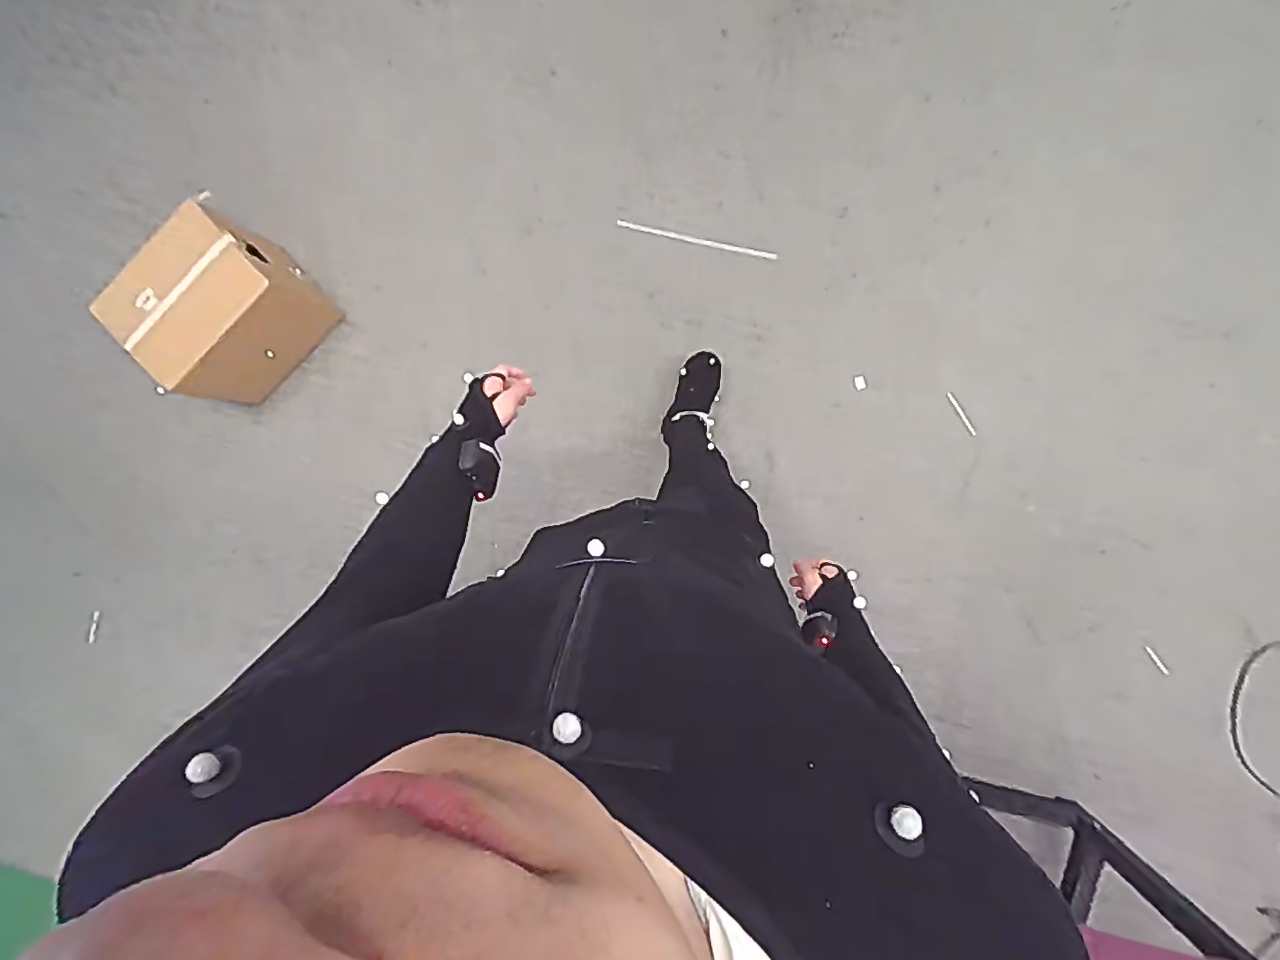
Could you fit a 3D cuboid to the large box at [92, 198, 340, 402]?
[{"bbox_3d":[-1.163,-0.477,1.523,0.408,0.320,0.320,-44,88,5],"label":"large box"}]
